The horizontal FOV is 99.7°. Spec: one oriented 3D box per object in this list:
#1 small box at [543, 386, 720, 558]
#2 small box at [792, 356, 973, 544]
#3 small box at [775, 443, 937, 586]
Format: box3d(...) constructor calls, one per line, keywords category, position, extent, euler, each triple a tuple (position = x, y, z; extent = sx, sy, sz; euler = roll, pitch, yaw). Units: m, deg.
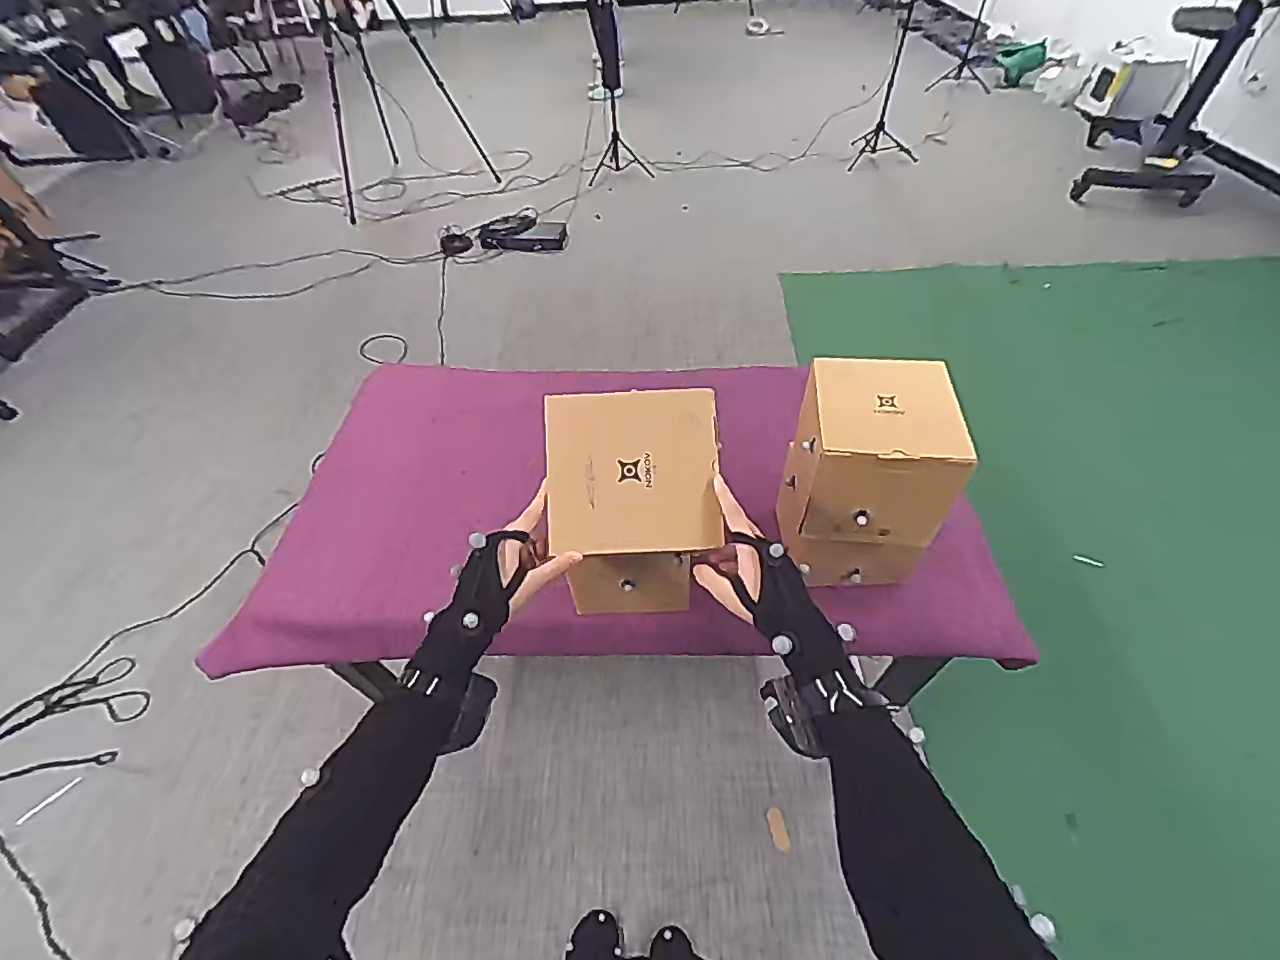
box3d(category="small box", position=(-0.010, 0.000, 0.620), extent=(0.179, 0.176, 0.168), euler=(-2, 78, 1))
box3d(category="small box", position=(0.296, -0.039, 0.708), extent=(0.168, 0.176, 0.179), euler=(4, 50, 8))
box3d(category="small box", position=(0.319, 0.054, 0.842), extent=(0.179, 0.176, 0.168), euler=(-2, 47, 2))
